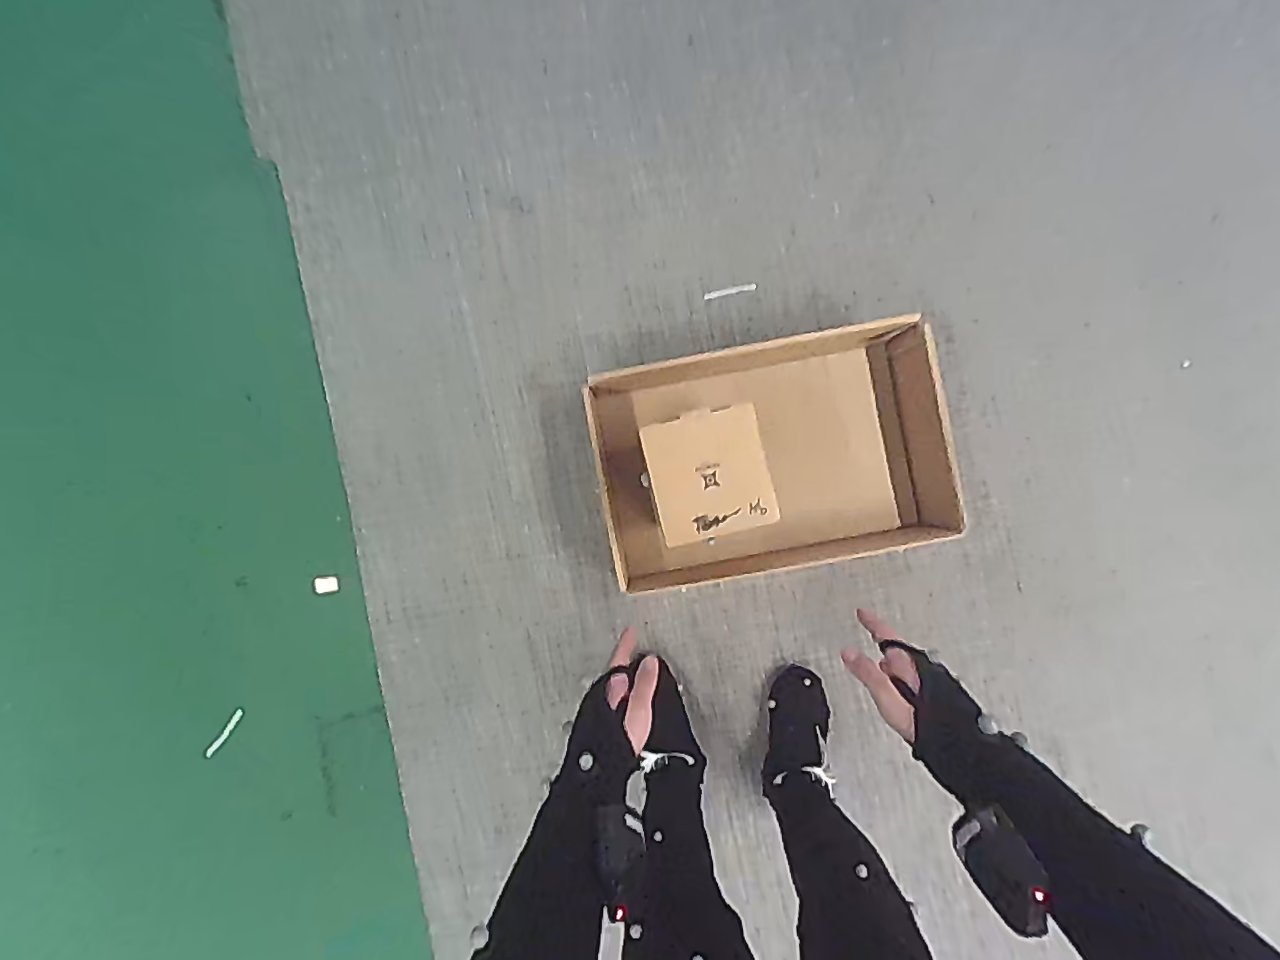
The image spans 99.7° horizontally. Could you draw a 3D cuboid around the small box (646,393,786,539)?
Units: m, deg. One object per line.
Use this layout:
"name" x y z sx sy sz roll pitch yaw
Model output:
"small box" 0.105 -0.017 0.822 0.168 0.176 0.179 -13 89 1
